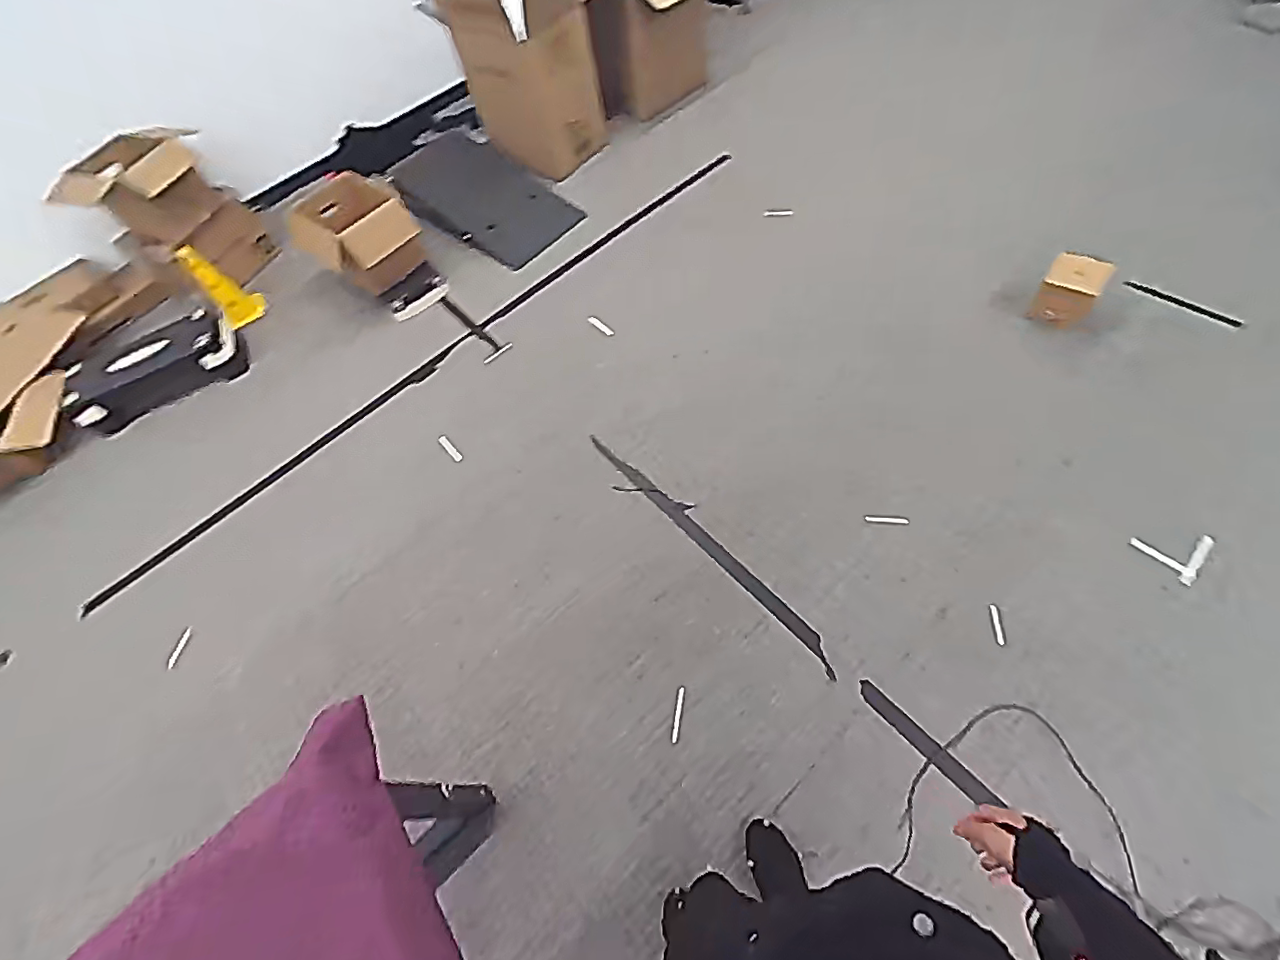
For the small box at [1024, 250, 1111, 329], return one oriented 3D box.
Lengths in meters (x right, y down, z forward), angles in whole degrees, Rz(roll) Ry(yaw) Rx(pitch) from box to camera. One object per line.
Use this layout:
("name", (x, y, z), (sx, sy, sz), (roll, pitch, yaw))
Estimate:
("small box", (1.502, -0.670, 1.911), (0.168, 0.176, 0.179), (29, 68, 25))
